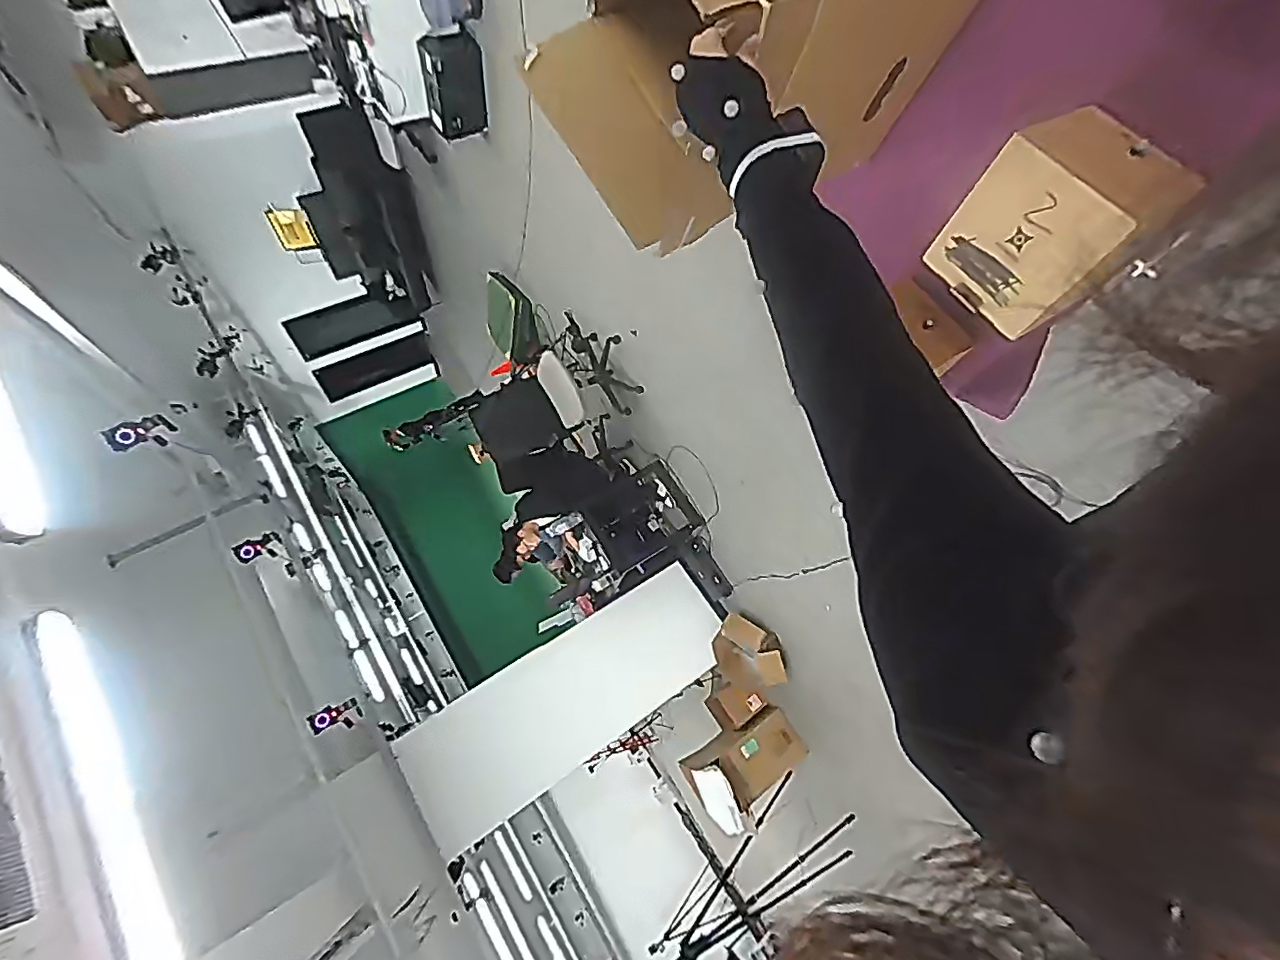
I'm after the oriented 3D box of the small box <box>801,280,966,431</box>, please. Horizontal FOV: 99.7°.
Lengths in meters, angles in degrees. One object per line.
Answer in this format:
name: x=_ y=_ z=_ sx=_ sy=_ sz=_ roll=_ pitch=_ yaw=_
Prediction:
small box: x=0.432 y=-0.222 z=0.971 sx=0.168 sy=0.176 sz=0.179 roll=55 pitch=157 yaw=16
